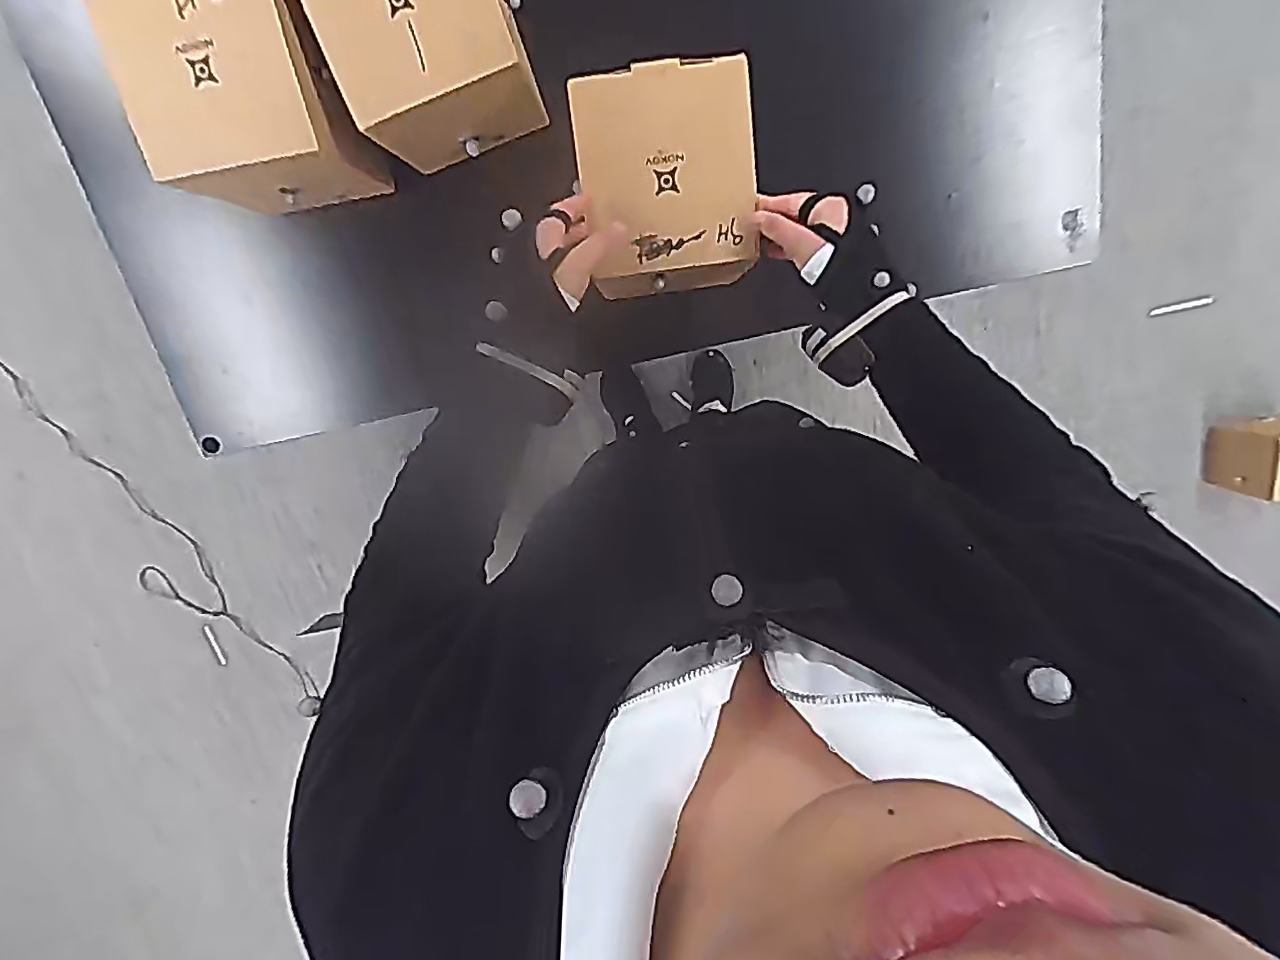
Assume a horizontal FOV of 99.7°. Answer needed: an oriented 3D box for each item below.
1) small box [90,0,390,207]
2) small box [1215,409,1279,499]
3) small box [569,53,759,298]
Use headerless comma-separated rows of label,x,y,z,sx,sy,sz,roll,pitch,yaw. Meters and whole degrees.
small box,-0.392,-0.400,0.565,0.168,0.176,0.179,-10,105,3
small box,1.646,-0.072,1.389,0.168,0.176,0.179,-13,105,4
small box,0.026,-0.306,0.582,0.168,0.176,0.179,-7,101,3
